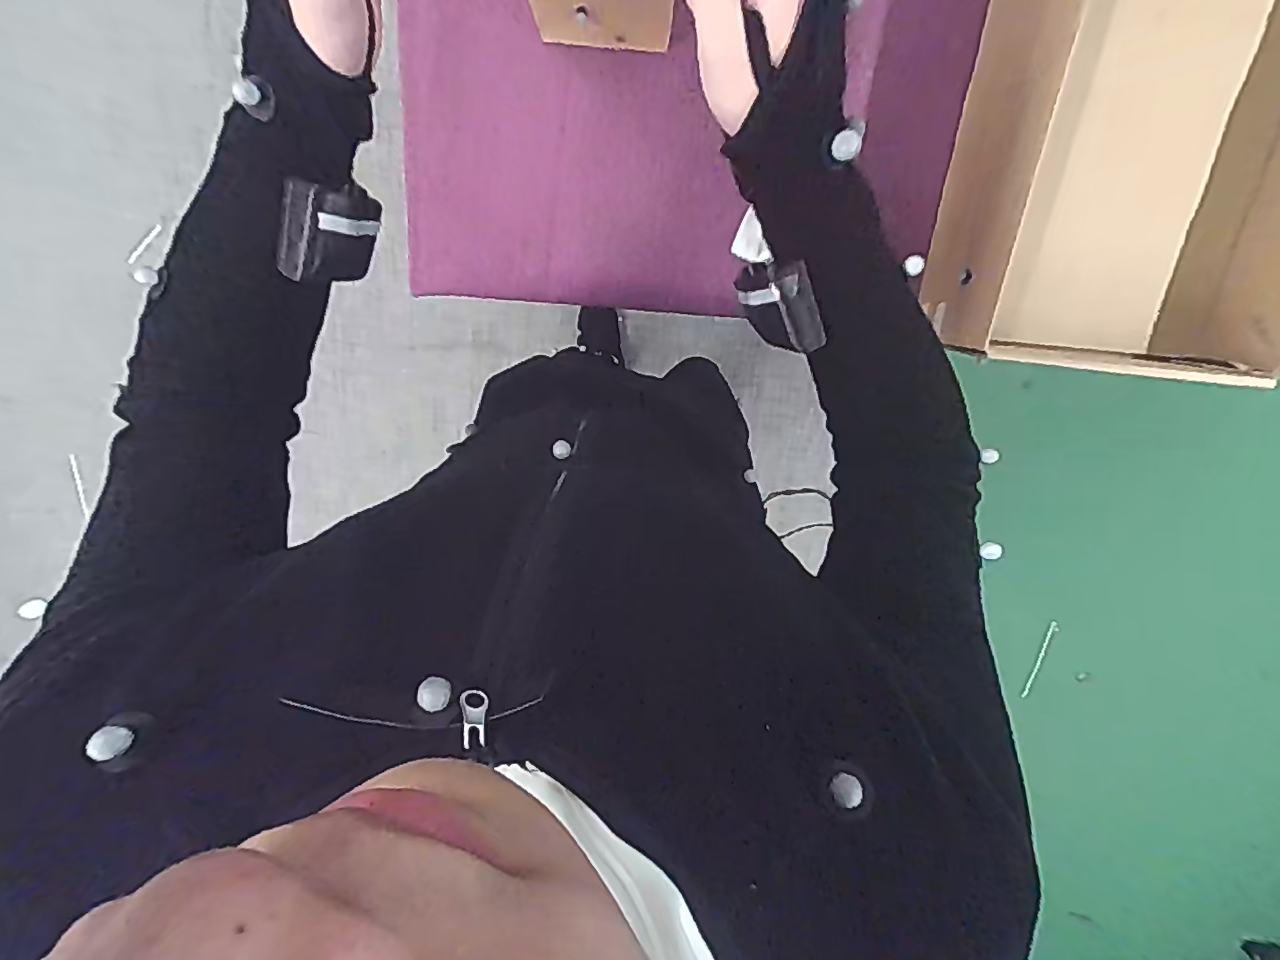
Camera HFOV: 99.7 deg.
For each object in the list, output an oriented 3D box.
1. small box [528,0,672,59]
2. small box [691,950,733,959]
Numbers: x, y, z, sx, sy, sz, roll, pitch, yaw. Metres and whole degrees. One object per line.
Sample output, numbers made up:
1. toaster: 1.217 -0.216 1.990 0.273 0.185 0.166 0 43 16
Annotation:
1. small box: -0.040 -0.621 0.619 0.168 0.176 0.179 4 107 -2
2. small box: 0.219 1.512 1.550 0.168 0.176 0.179 -25 105 6
